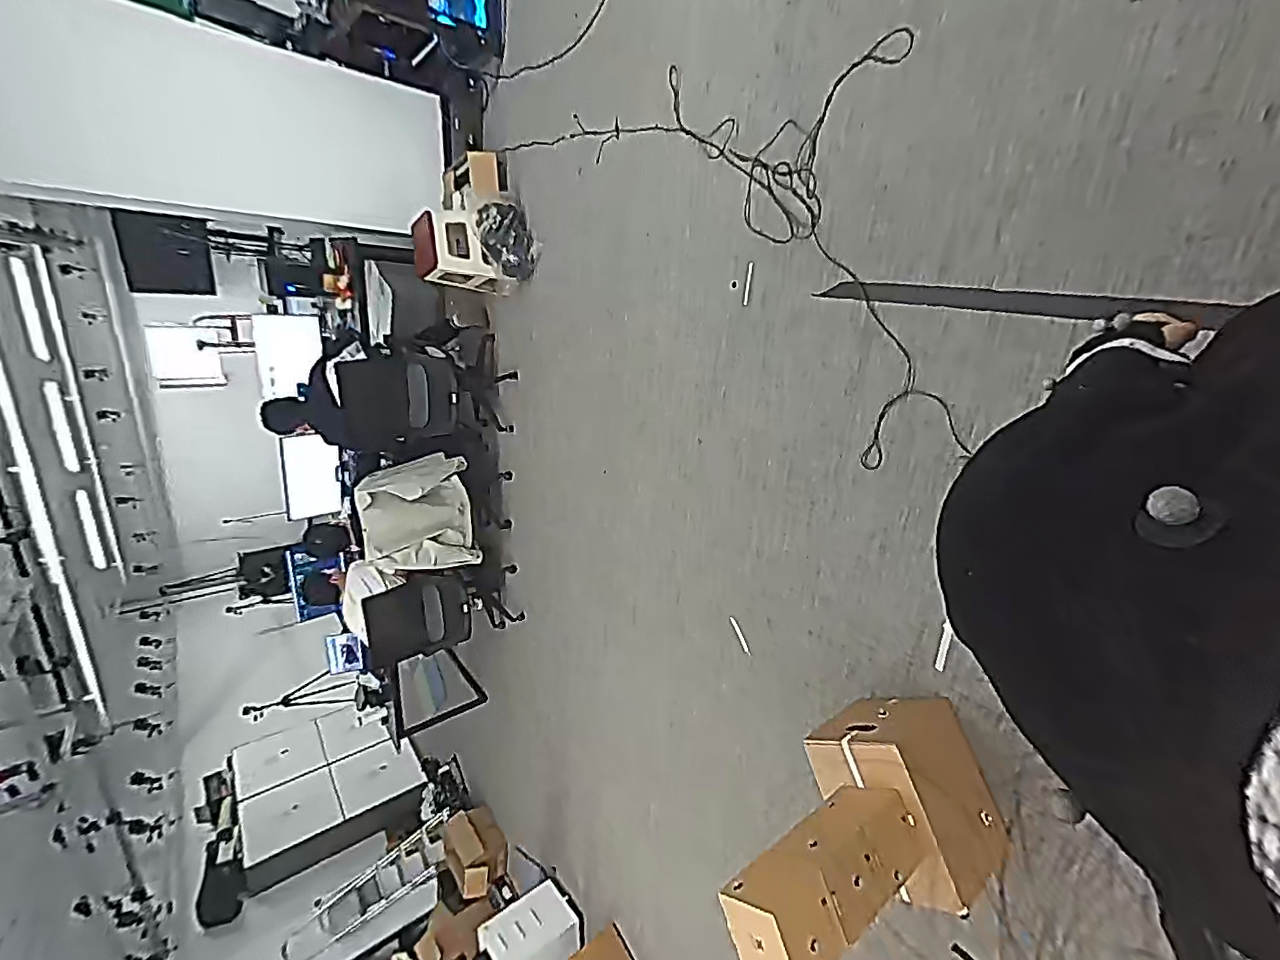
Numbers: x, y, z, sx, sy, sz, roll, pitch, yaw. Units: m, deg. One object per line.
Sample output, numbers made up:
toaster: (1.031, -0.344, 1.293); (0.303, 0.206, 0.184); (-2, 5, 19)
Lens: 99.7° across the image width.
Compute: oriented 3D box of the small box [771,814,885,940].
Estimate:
small box: (0.447, 0.921, 1.276); (0.179, 0.176, 0.168); (-34, 71, 50)

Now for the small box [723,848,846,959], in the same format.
small box: (0.319, 0.943, 1.178); (0.179, 0.176, 0.168); (-33, 73, 52)
